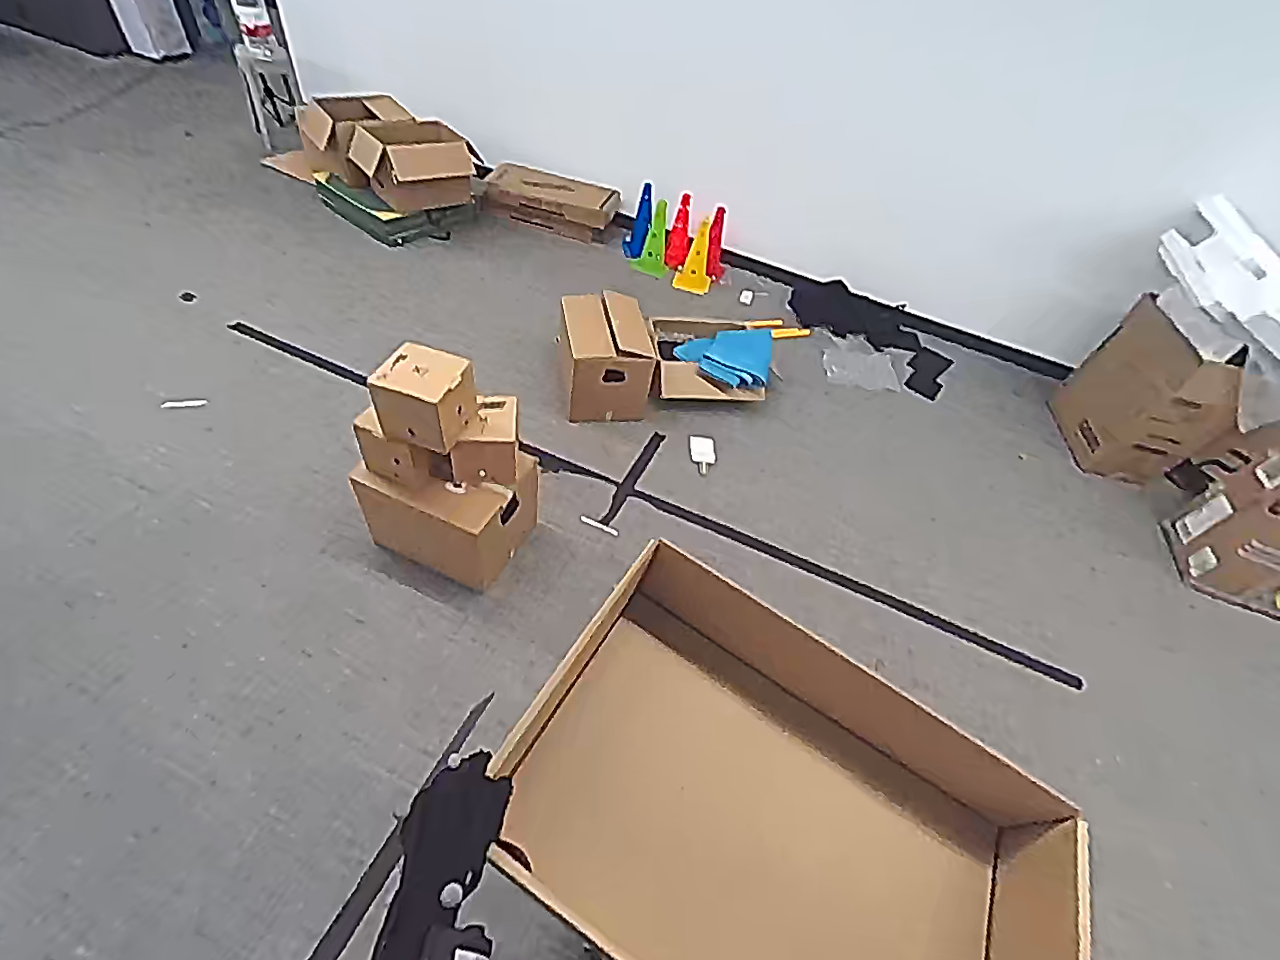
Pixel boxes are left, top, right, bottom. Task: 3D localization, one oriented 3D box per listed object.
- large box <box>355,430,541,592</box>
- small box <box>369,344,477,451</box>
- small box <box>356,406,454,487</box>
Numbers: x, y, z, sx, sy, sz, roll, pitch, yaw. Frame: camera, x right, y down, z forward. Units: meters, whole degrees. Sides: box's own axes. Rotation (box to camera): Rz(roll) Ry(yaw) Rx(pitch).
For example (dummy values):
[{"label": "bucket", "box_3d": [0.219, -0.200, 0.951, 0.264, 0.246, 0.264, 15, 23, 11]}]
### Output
[{"label": "large box", "box_3d": [-0.550, 0.069, 1.617, 0.408, 0.320, 0.320, 23, 50, 8]}, {"label": "small box", "box_3d": [-0.512, -0.194, 1.309, 0.179, 0.176, 0.168, 18, 49, 5]}, {"label": "small box", "box_3d": [-0.612, -0.110, 1.436, 0.168, 0.176, 0.179, 23, 48, 7]}]
